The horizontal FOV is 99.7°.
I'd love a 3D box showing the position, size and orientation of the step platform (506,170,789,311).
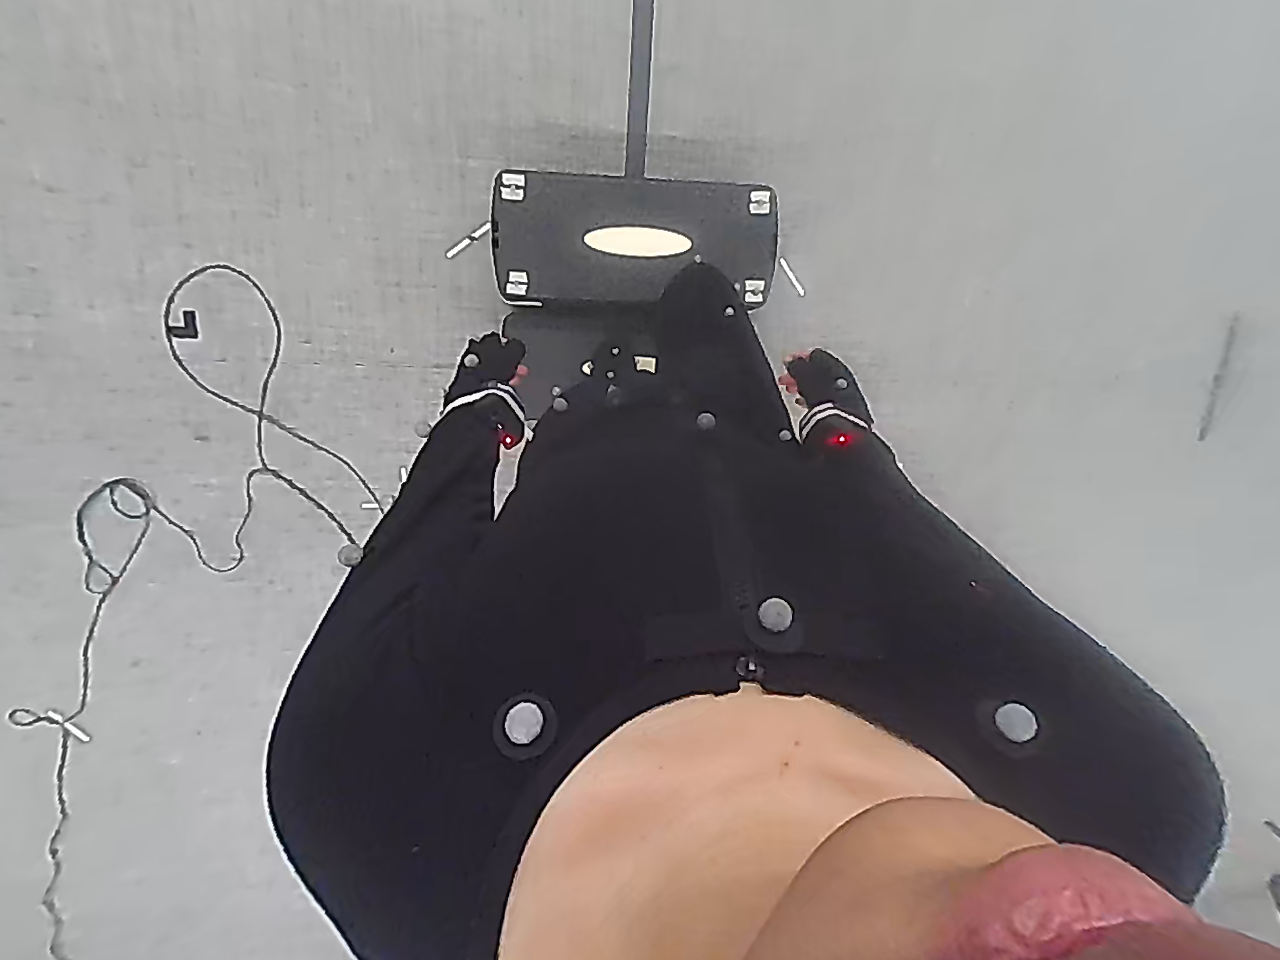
[{"bbox_3d":[0.018,-0.579,1.339,0.684,0.204,0.286,-1,105,-6],"label":"step platform"}]
